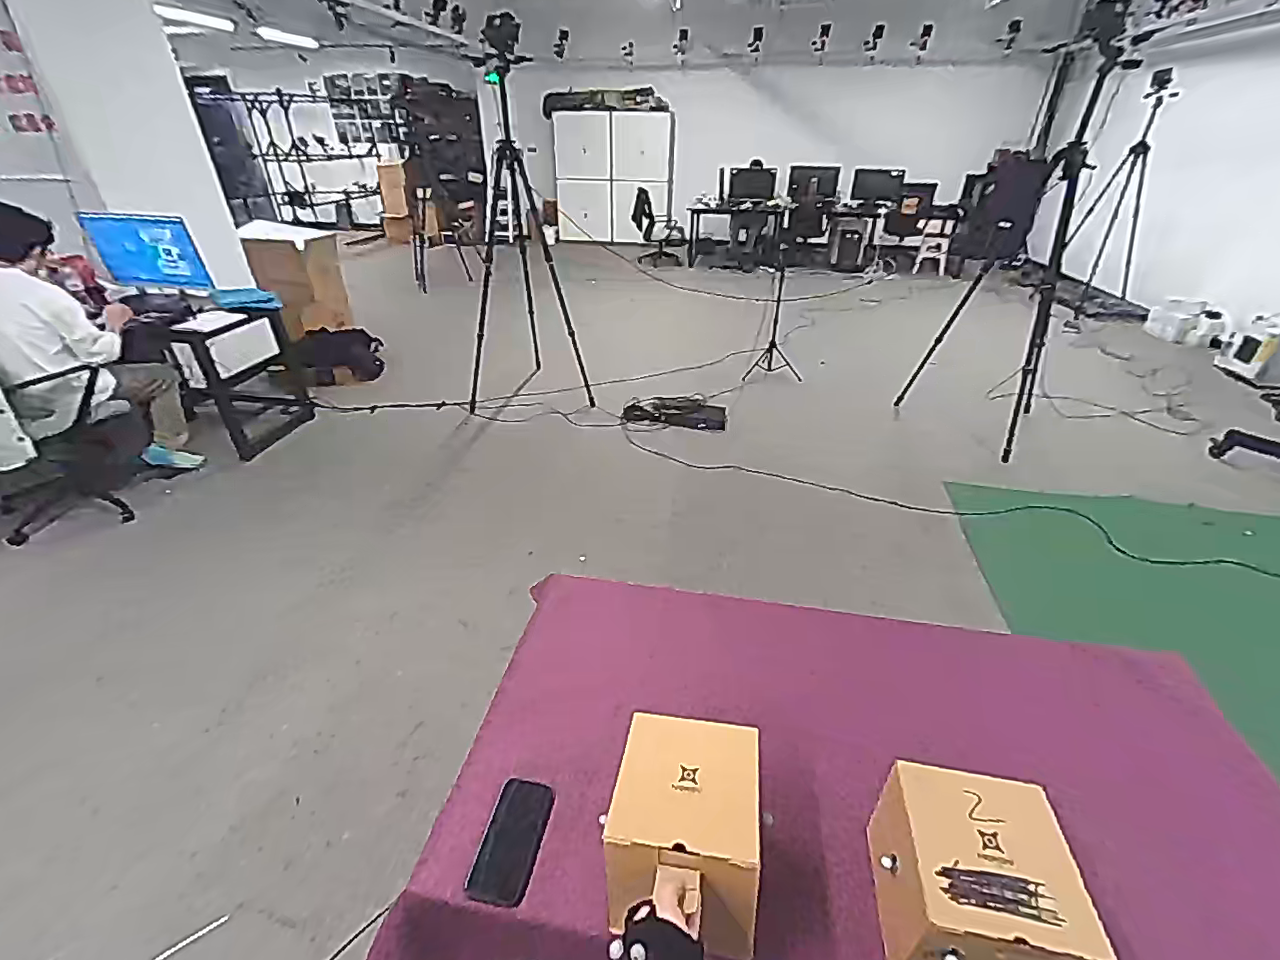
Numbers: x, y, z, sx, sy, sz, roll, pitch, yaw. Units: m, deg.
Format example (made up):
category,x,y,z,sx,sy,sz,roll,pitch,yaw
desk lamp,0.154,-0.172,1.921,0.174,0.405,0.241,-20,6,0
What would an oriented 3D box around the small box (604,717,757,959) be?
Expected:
category,x,y,z,sx,sy,sz,roll,pitch,yaw
small box,0.055,0.433,0.672,0.168,0.176,0.179,3,24,10
